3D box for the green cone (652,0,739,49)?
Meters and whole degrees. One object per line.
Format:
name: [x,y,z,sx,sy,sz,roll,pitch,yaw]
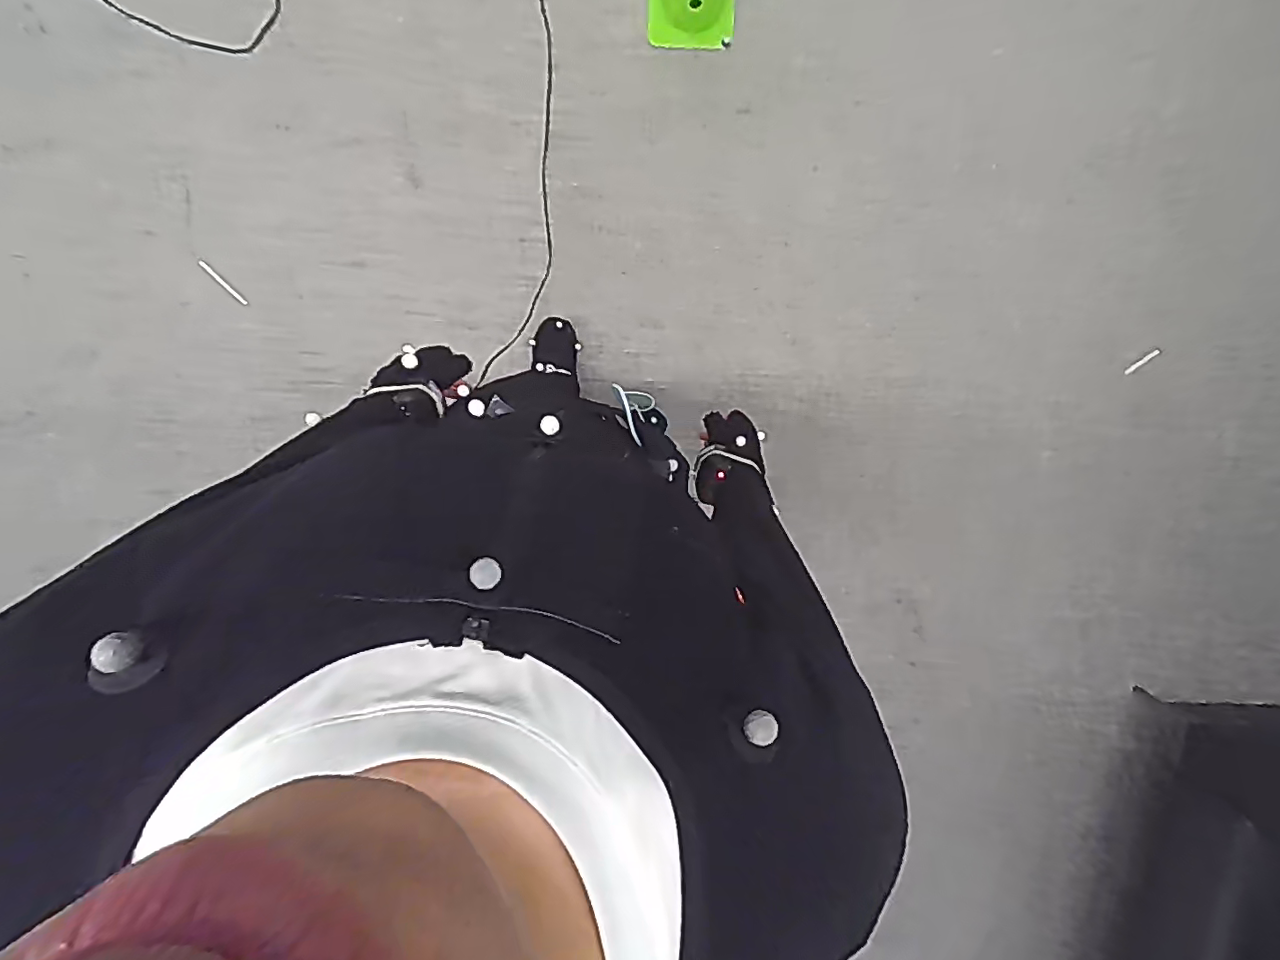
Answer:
green cone: [0.128,-1.077,1.080,0.202,0.368,0.200,1,102,0]
